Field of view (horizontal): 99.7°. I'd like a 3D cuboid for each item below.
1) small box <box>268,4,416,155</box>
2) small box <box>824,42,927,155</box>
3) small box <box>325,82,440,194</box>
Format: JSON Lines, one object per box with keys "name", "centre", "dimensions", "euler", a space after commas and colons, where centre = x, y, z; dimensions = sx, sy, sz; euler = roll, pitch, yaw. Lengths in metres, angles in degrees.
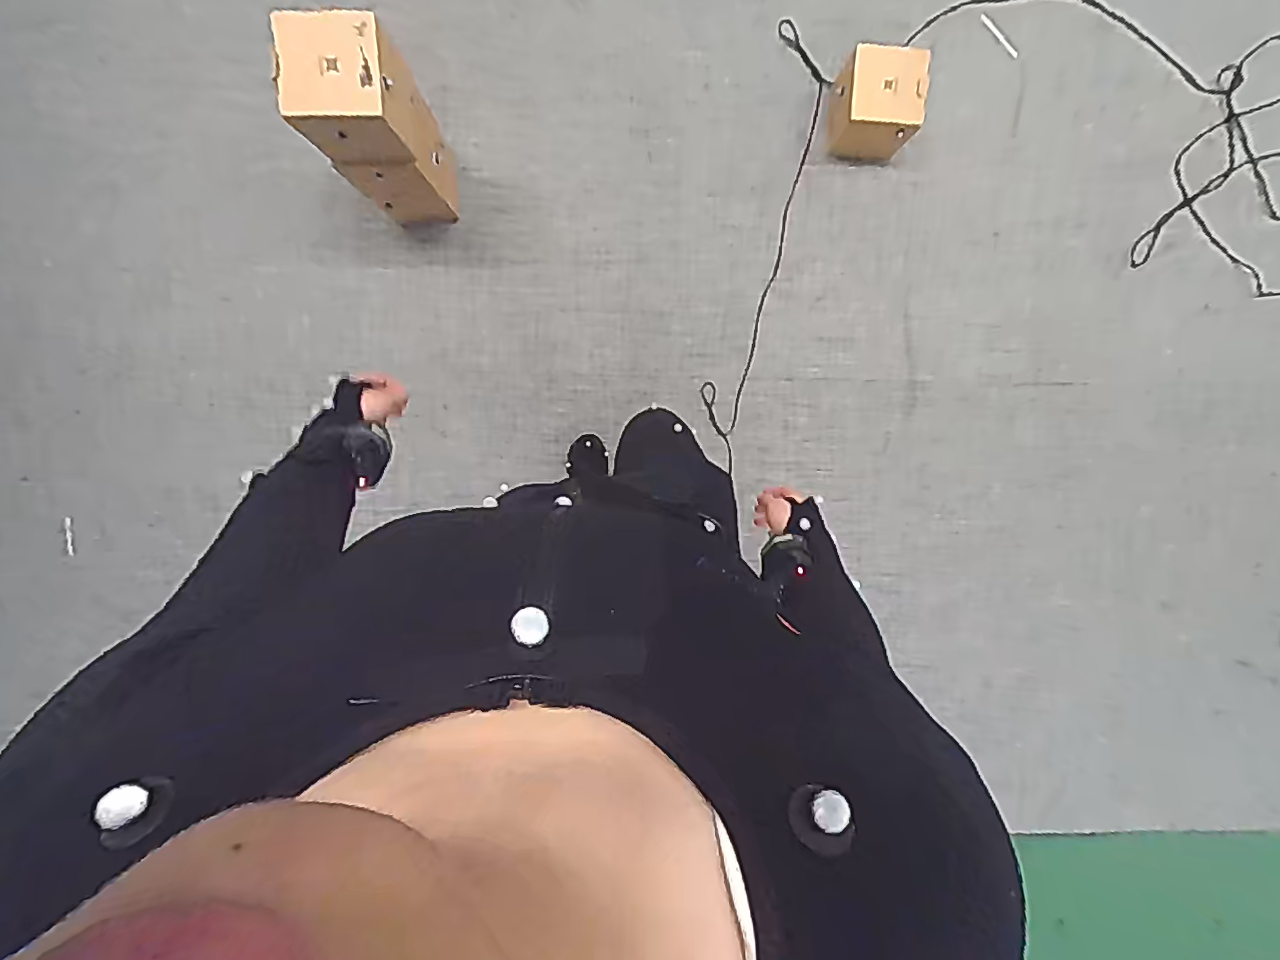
{"name": "small box", "centre": [-0.532, -0.715, 0.985], "dimensions": [0.179, 0.176, 0.168], "euler": [-1, 97, -1]}
{"name": "small box", "centre": [0.563, -0.918, 1.316], "dimensions": [0.179, 0.176, 0.168], "euler": [2, 96, -3]}
{"name": "small box", "centre": [-0.542, -0.726, 1.148], "dimensions": [0.179, 0.176, 0.168], "euler": [-1, 97, -3]}
